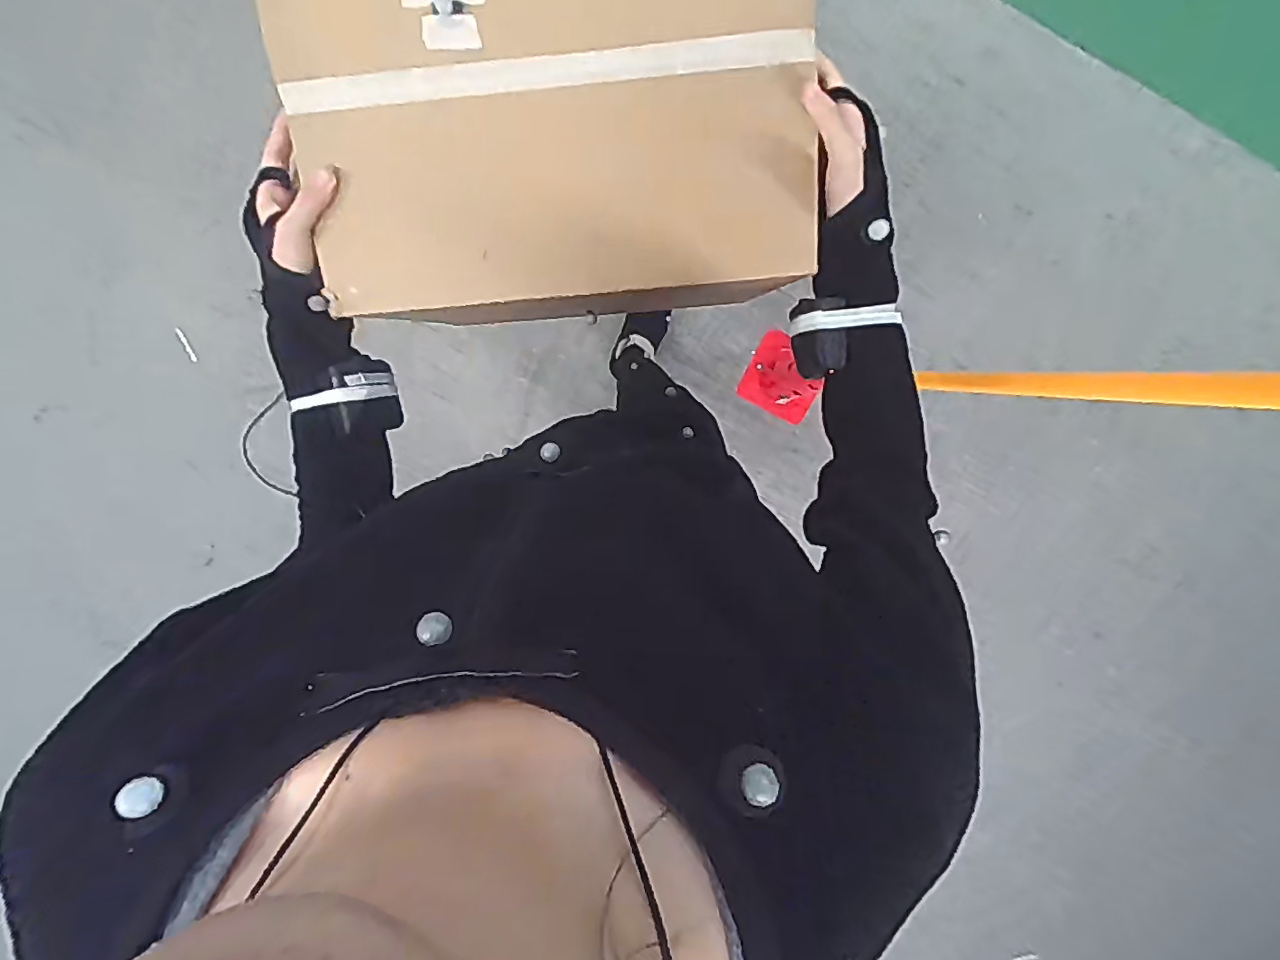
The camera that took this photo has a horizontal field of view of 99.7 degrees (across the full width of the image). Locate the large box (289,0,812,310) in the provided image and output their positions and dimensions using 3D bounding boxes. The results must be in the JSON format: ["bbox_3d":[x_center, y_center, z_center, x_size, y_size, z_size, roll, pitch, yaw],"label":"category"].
[{"bbox_3d":[-0.062,-0.354,0.565,0.408,0.320,0.320,-3,105,2],"label":"large box"}]
